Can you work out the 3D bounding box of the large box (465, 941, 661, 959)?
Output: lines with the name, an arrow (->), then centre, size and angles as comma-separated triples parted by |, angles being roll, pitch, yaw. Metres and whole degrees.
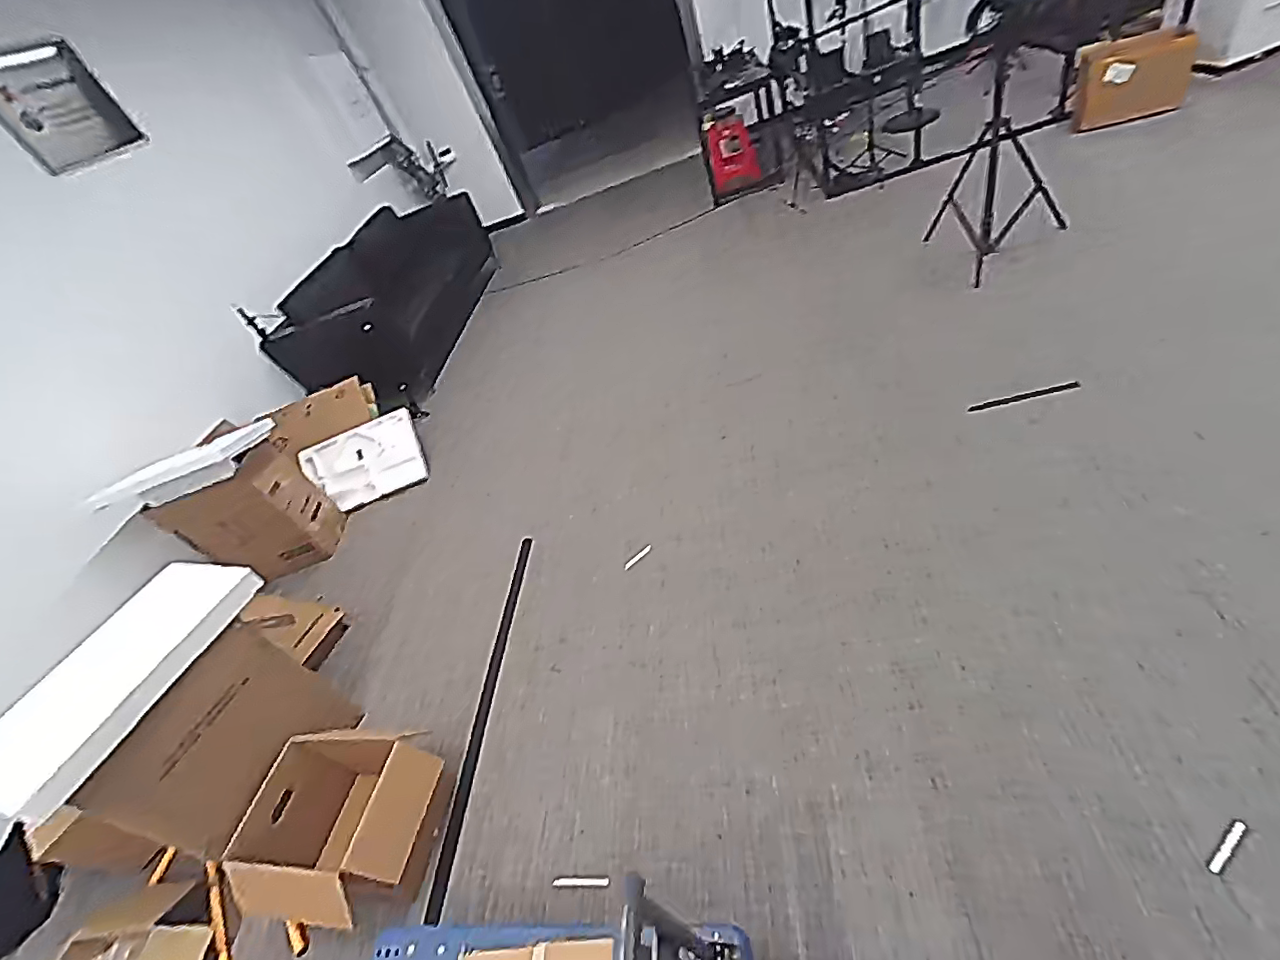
large box -> -0.105, 1.013, 0.835 | 0.320, 0.320, 0.408 | -15, 39, 11
